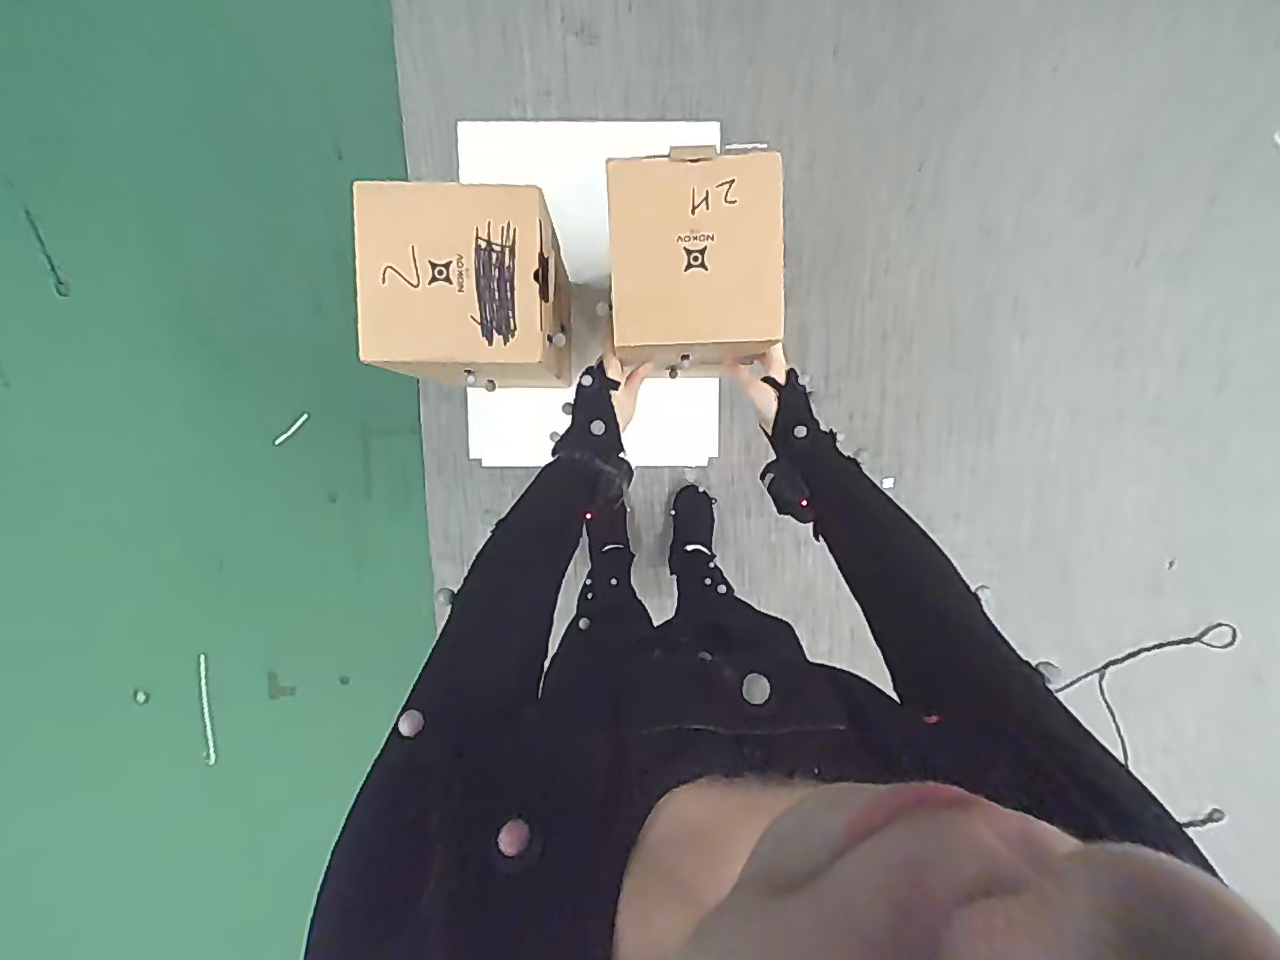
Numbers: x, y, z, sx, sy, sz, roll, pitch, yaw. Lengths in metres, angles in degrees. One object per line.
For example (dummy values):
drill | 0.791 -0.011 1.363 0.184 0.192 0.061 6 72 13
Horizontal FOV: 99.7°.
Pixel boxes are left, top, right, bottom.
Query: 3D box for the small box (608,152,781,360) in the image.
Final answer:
small box | 0.053 -0.228 0.596 0.168 0.176 0.179 -2 95 -1

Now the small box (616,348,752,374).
small box | 0.057 -0.240 0.761 0.179 0.176 0.168 0 95 -1

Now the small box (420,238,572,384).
small box | -0.191 -0.225 0.757 0.179 0.176 0.168 0 96 -3
